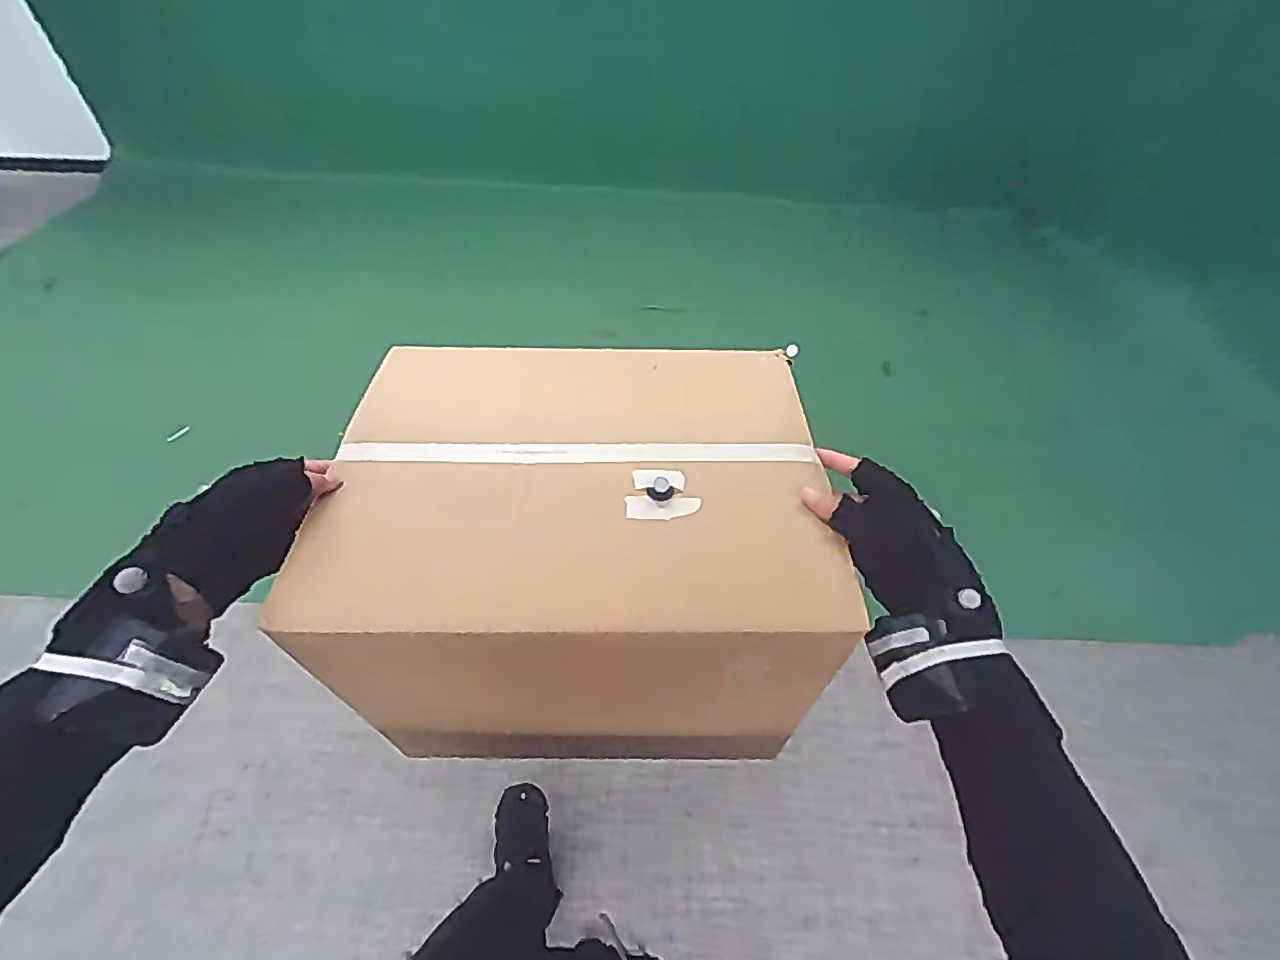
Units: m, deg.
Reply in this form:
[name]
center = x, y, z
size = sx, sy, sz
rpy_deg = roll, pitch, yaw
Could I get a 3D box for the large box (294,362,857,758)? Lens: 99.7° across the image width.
[large box]
center = -0.049, 0.088, 0.584
size = 0.408, 0.320, 0.320
rpy_deg = 0, 49, -1
